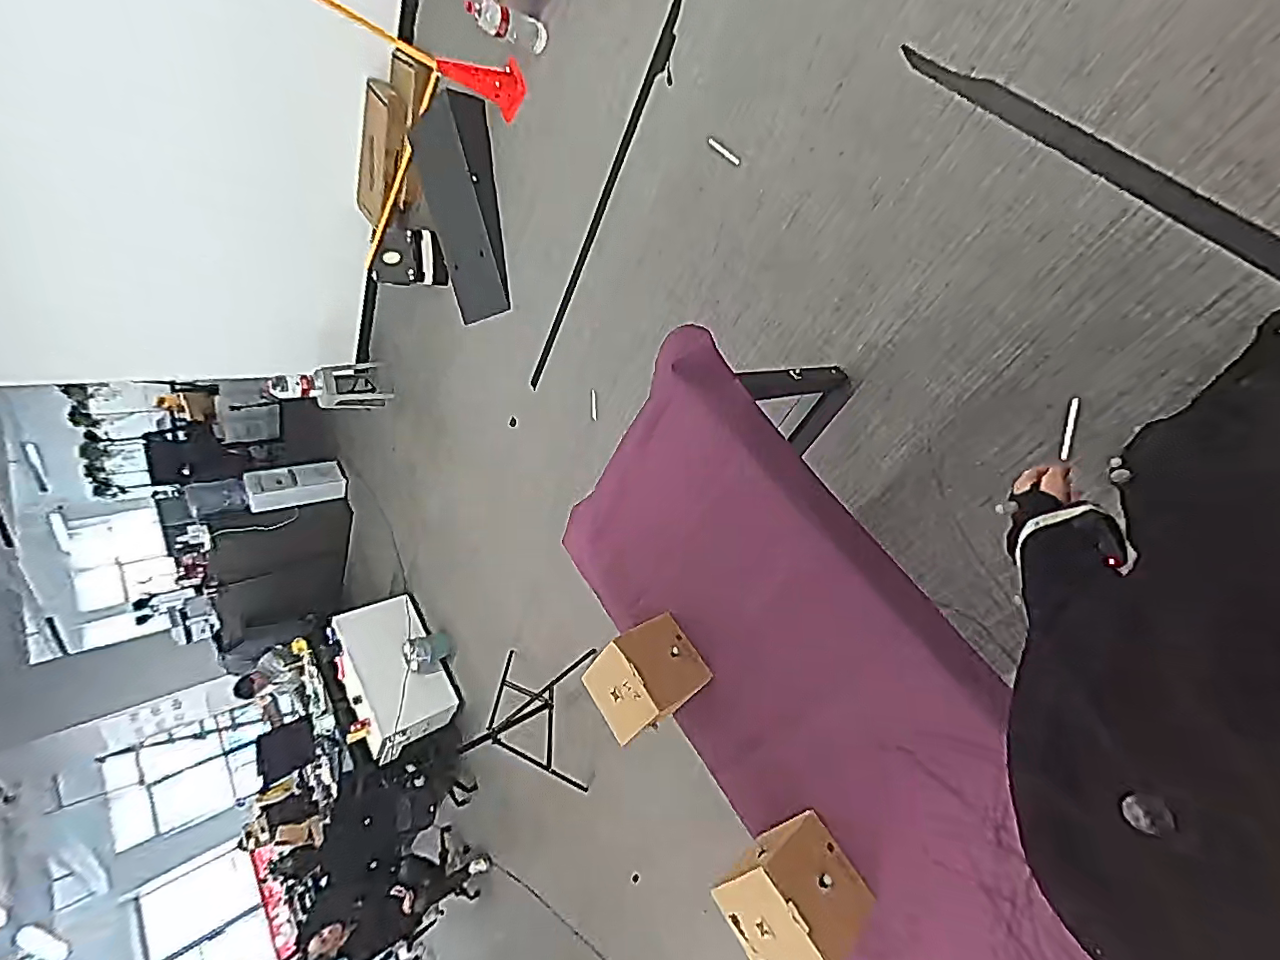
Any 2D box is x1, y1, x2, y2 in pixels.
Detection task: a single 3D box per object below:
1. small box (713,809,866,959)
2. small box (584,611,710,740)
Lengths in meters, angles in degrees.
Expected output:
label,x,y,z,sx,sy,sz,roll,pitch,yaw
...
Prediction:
label,x,y,z,sx,sy,sz,roll,pitch,yaw
small box,0.270,0.725,0.957,0.168,0.176,0.179,53,130,25
small box,0.016,0.409,1.147,0.168,0.176,0.179,52,131,23
